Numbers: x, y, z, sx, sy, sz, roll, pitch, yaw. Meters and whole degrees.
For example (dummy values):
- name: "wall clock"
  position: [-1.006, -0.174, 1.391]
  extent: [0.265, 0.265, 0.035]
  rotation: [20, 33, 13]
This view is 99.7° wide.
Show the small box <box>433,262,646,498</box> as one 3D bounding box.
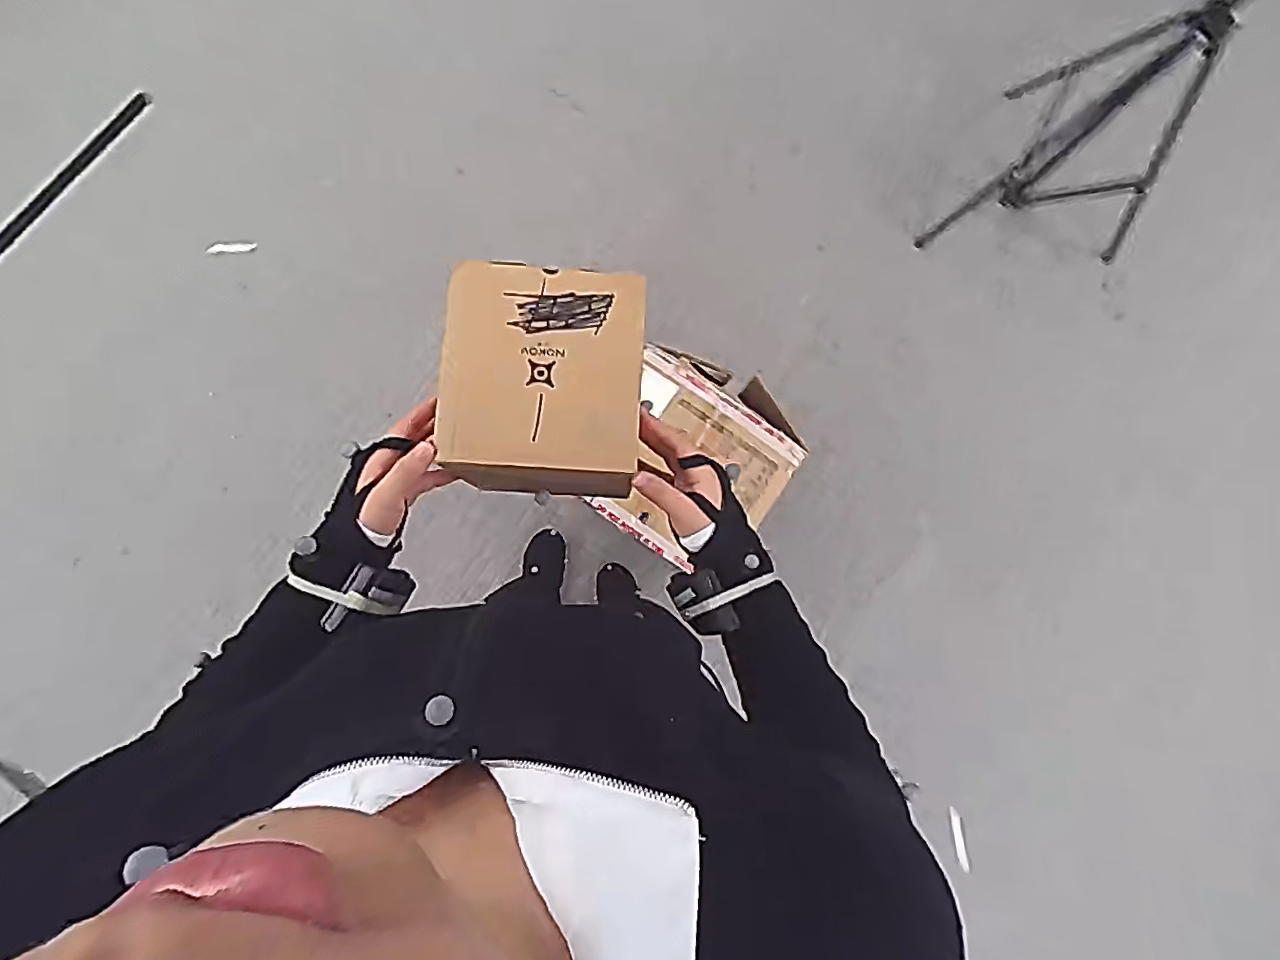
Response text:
- name: "small box"
  position: [-0.085, -0.083, 0.525]
  extent: [0.168, 0.176, 0.179]
  rotation: [2, 81, -3]
